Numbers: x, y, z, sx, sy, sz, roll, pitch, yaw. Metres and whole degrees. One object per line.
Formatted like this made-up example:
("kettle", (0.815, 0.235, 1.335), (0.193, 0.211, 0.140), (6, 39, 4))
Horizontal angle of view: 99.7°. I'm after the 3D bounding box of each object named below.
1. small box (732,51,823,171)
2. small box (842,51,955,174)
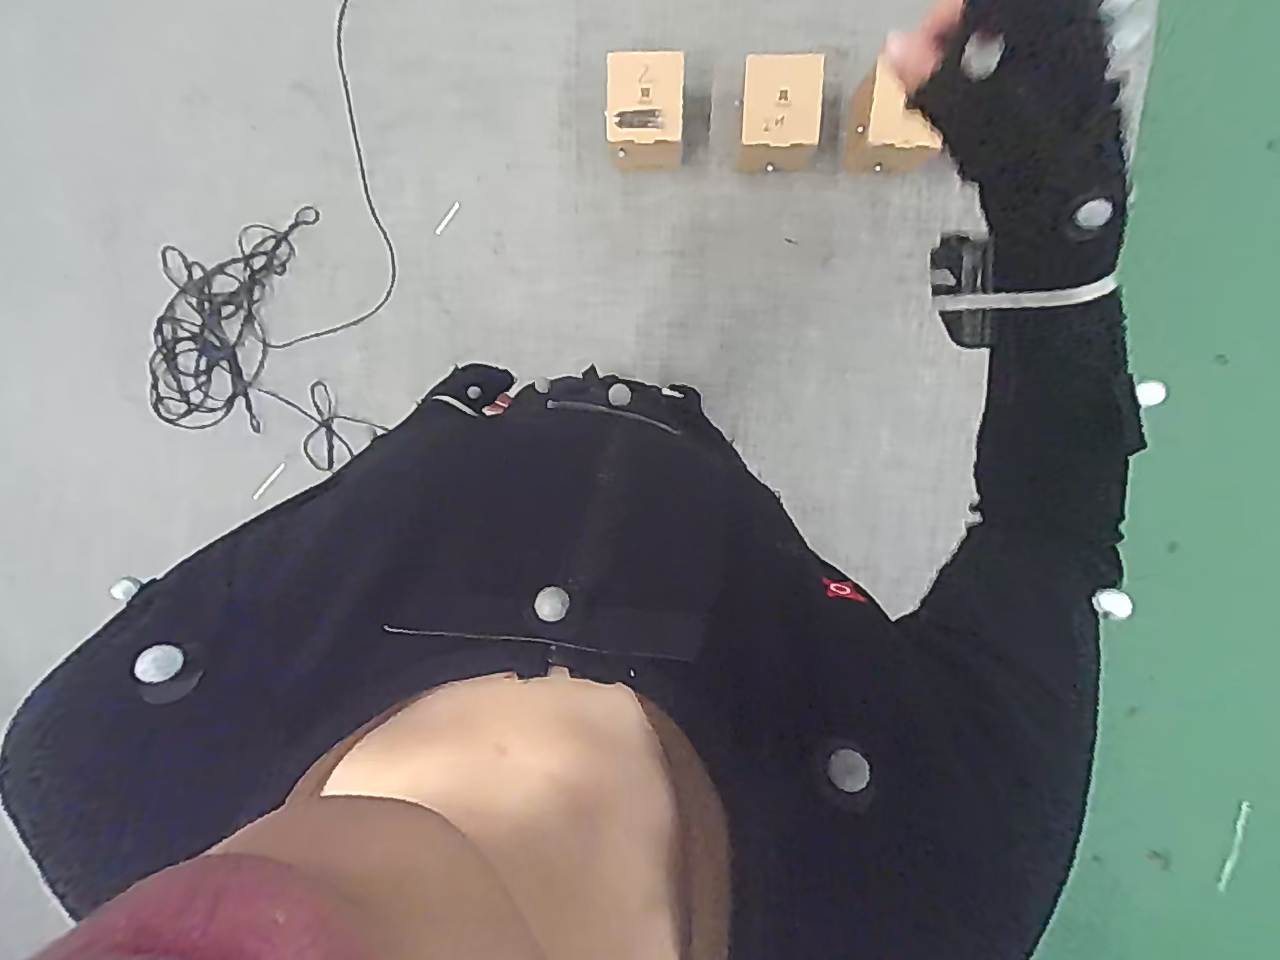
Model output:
("small box", (0.302, -0.826, 1.222), (0.168, 0.176, 0.179), (2, 102, 3))
("small box", (0.569, -0.816, 1.216), (0.168, 0.176, 0.179), (4, 102, 1))
